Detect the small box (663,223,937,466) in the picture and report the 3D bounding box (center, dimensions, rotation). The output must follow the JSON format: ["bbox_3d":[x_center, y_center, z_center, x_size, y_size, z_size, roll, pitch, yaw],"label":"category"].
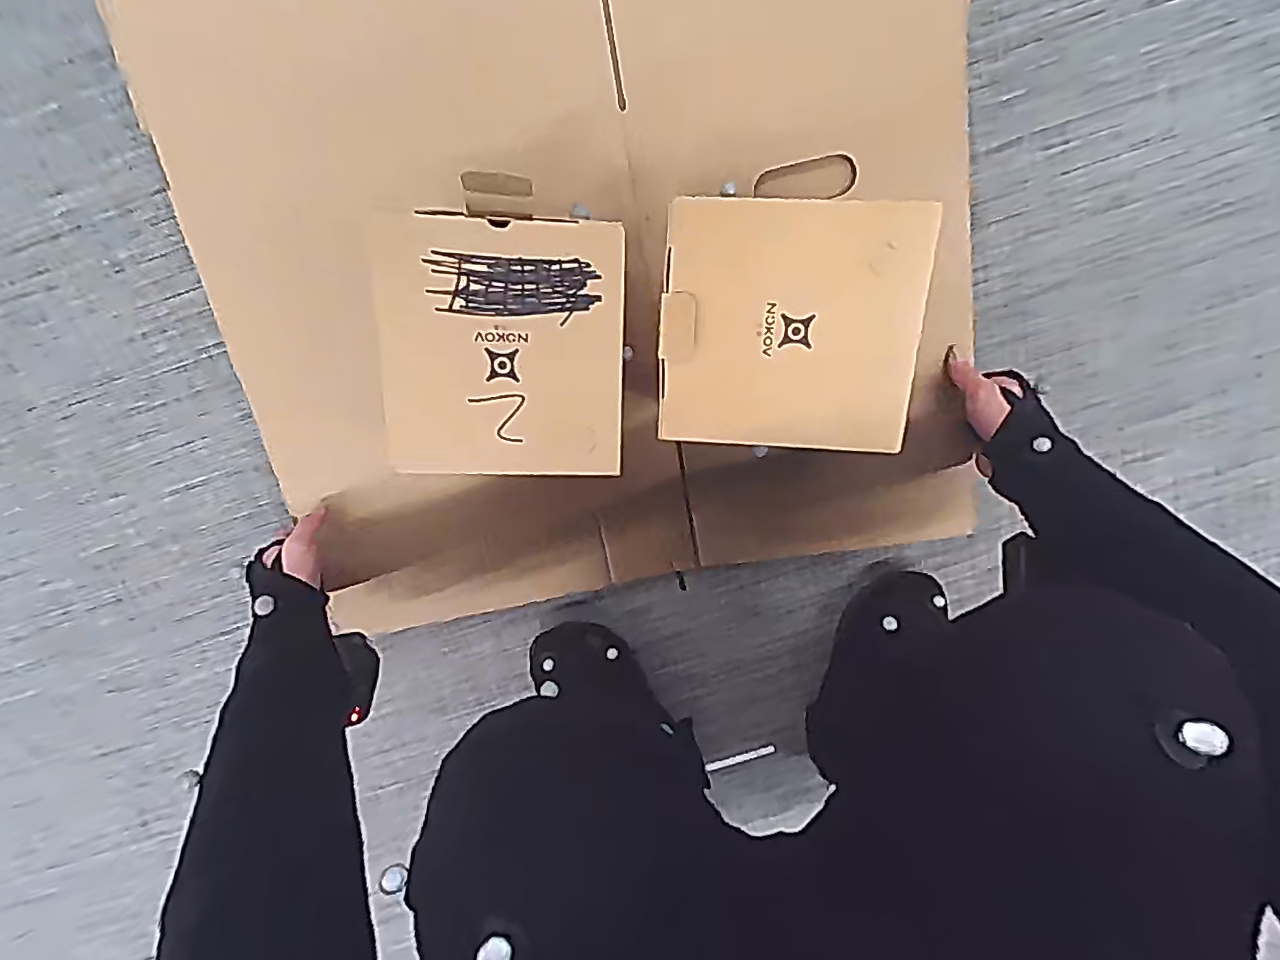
[{"bbox_3d":[0.115,-0.117,0.460,0.179,0.176,0.168,4,107,6],"label":"small box"}]
